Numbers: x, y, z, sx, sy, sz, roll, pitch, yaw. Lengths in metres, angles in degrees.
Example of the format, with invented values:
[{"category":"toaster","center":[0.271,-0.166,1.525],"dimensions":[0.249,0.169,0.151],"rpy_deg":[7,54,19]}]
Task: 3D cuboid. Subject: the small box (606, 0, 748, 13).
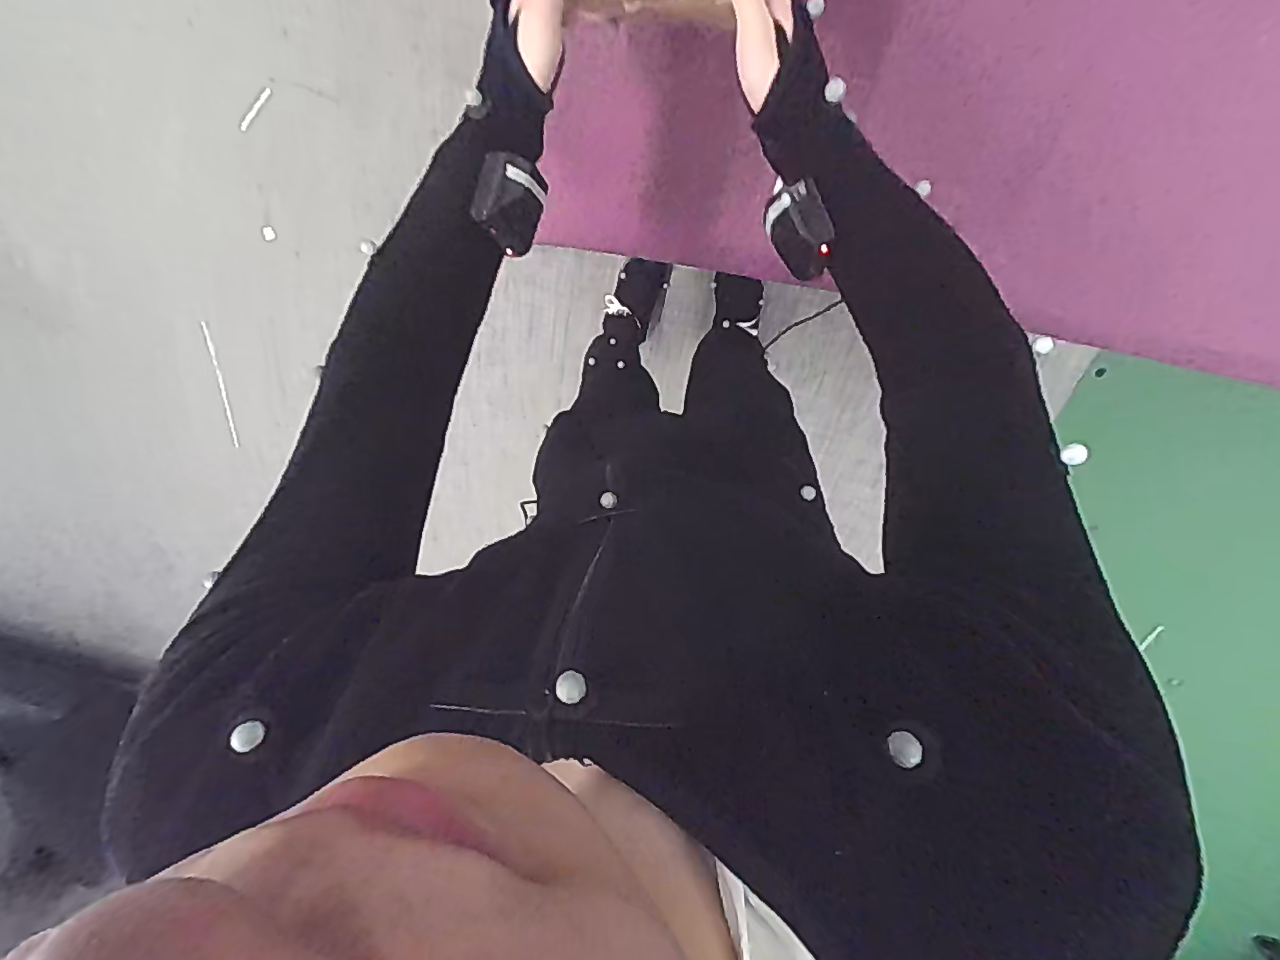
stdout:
[{"category":"small box","center":[0.022,-0.494,0.425],"dimensions":[0.168,0.176,0.179],"rpy_deg":[7,124,3]}]
